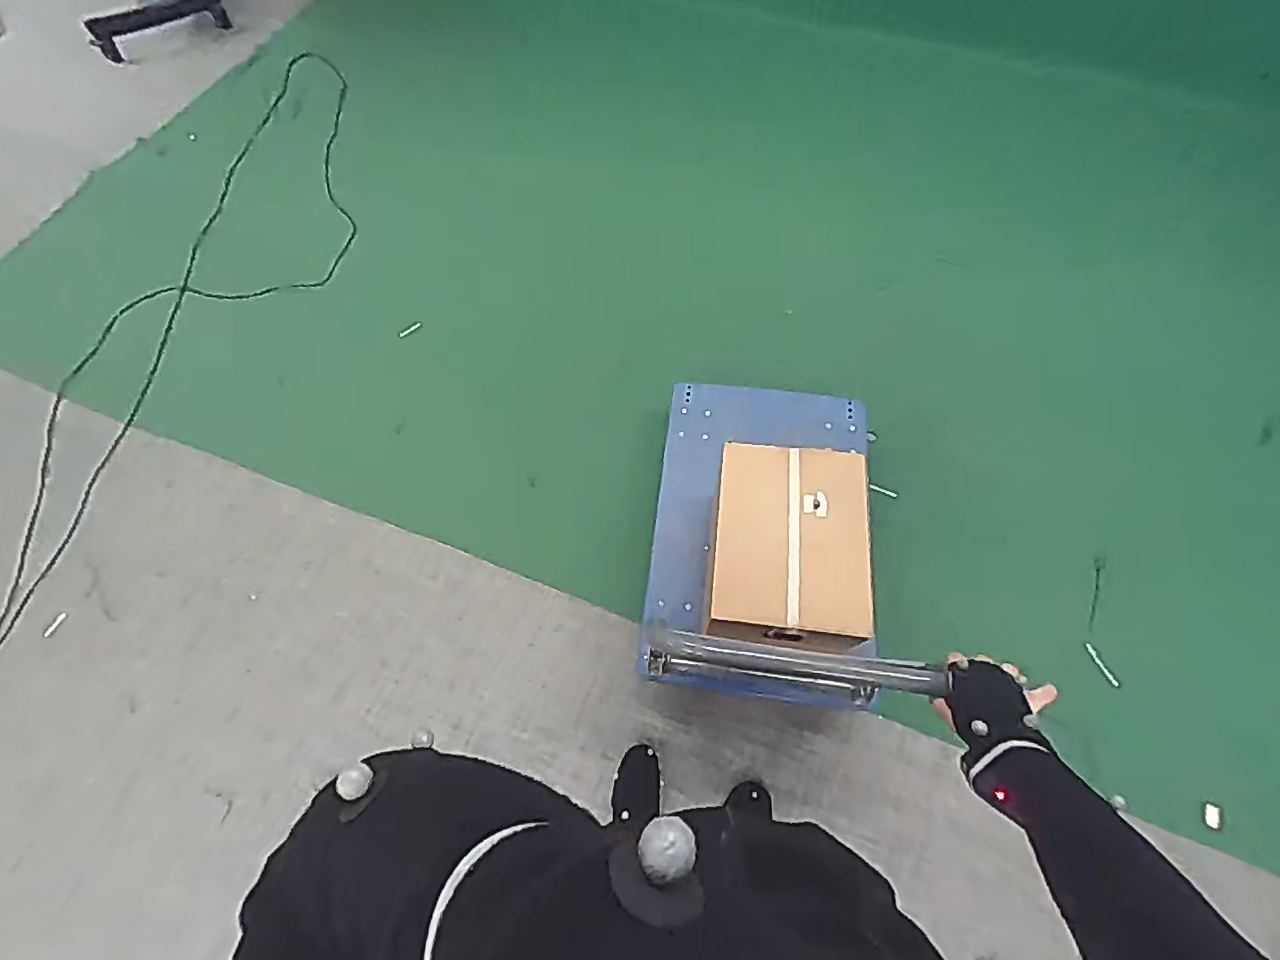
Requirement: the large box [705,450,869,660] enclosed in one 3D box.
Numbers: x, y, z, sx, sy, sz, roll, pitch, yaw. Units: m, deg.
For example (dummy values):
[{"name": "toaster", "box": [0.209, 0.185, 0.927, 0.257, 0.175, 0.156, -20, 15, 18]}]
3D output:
[{"name": "large box", "box": [0.323, 0.187, 1.277, 0.320, 0.320, 0.408, 6, 64, 5]}]
